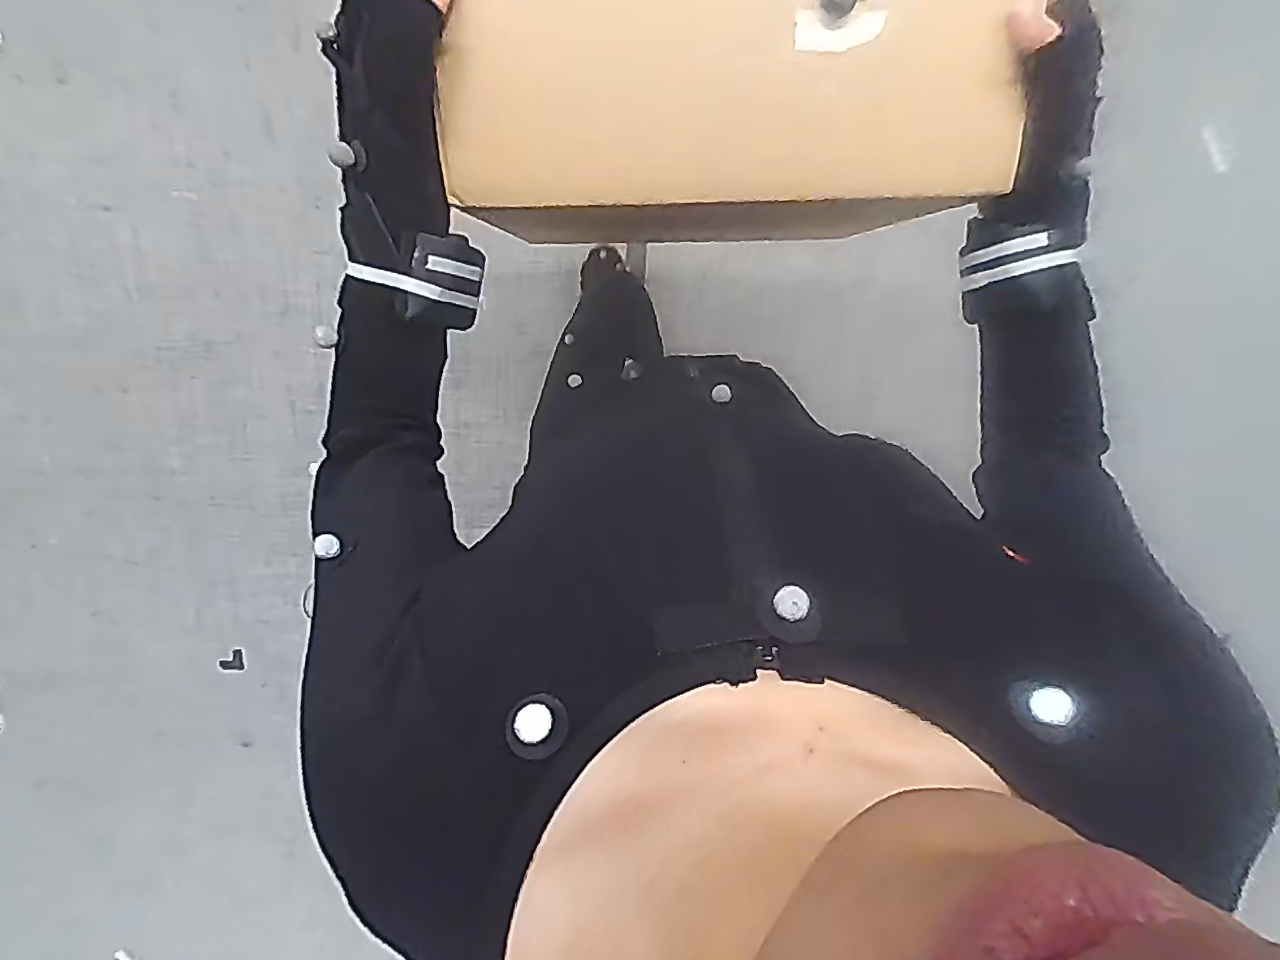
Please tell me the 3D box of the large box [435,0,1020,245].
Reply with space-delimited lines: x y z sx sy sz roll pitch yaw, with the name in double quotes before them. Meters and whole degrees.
"large box" 0.053 -0.405 0.493 0.408 0.320 0.320 -2 108 -1
